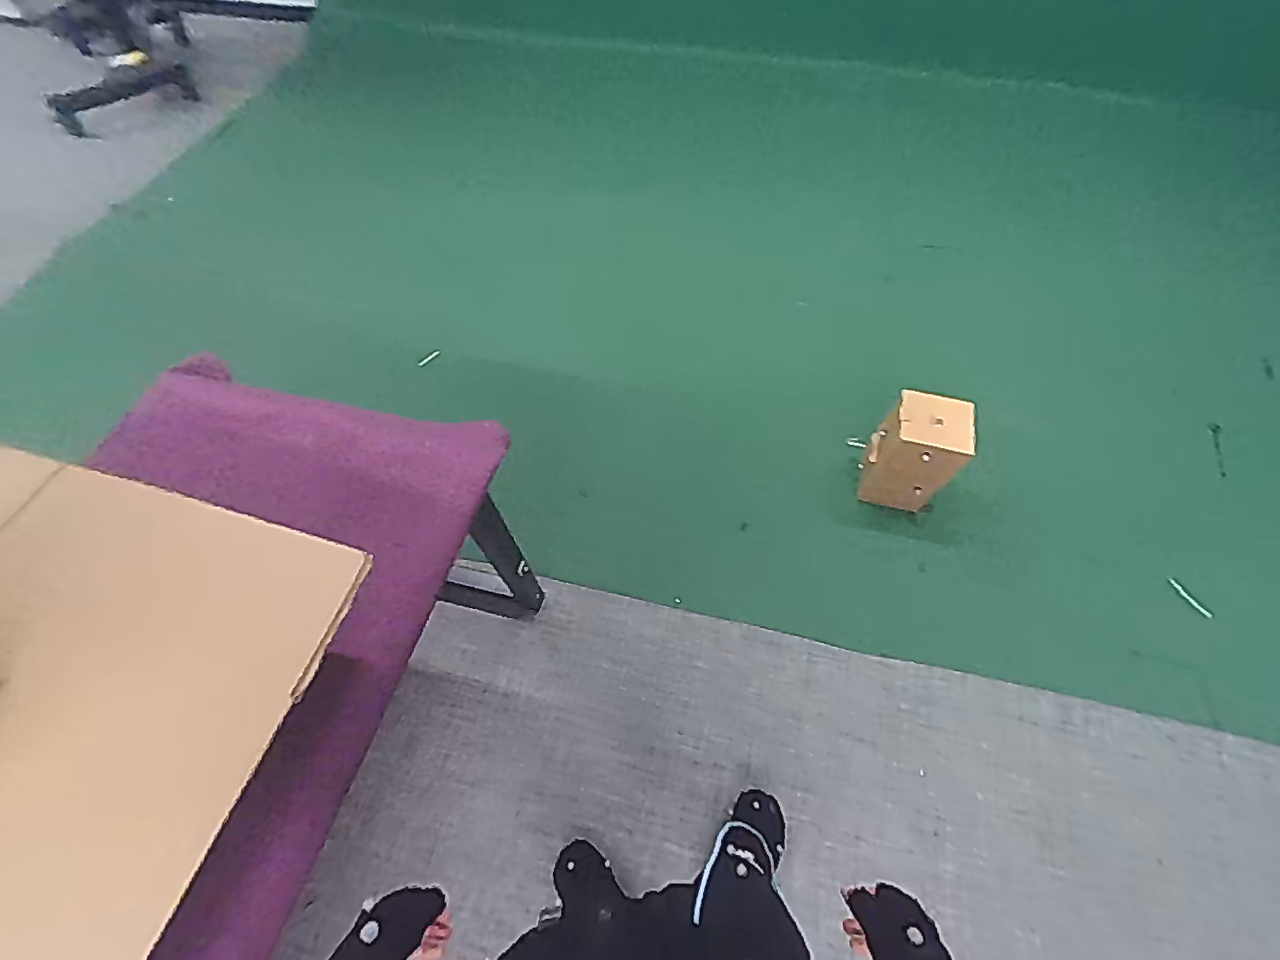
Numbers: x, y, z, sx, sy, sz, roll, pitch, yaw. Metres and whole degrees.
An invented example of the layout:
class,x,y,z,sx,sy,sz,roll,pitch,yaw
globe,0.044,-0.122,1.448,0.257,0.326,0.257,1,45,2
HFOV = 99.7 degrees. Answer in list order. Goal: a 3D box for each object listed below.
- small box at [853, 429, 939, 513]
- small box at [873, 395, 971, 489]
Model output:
class,x,y,z,sx,sy,sz,roll,pitch,yaw
small box,0.744,-0.020,1.573,0.179,0.176,0.168,14,61,8
small box,0.741,-0.096,1.428,0.179,0.176,0.168,14,61,9
